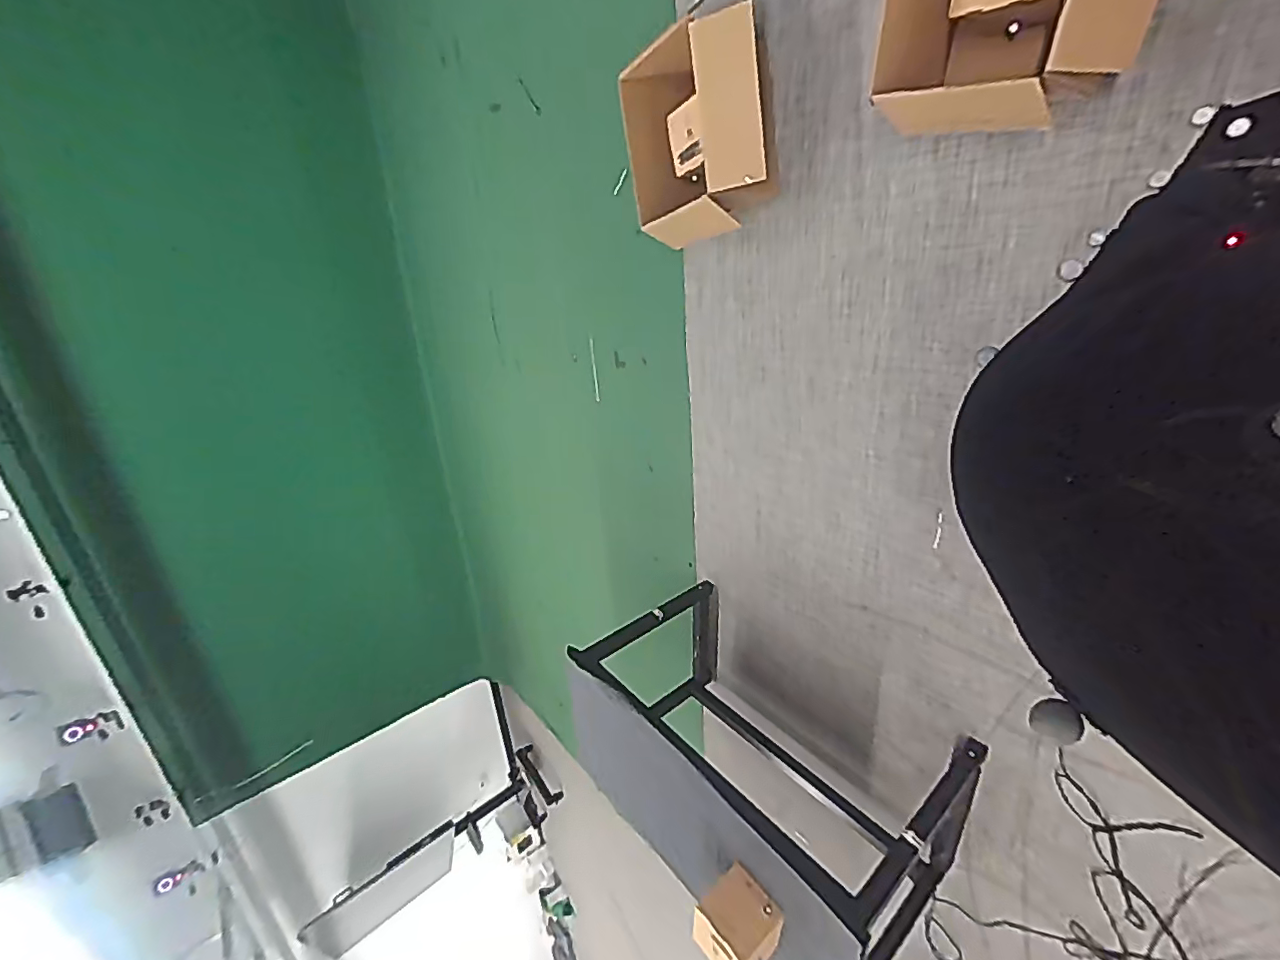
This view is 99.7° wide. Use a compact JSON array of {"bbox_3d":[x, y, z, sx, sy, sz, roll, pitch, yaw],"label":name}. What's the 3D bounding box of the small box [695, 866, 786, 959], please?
[{"bbox_3d":[0.269,1.191,1.444,0.168,0.176,0.179,29,130,43],"label":"small box"}]
